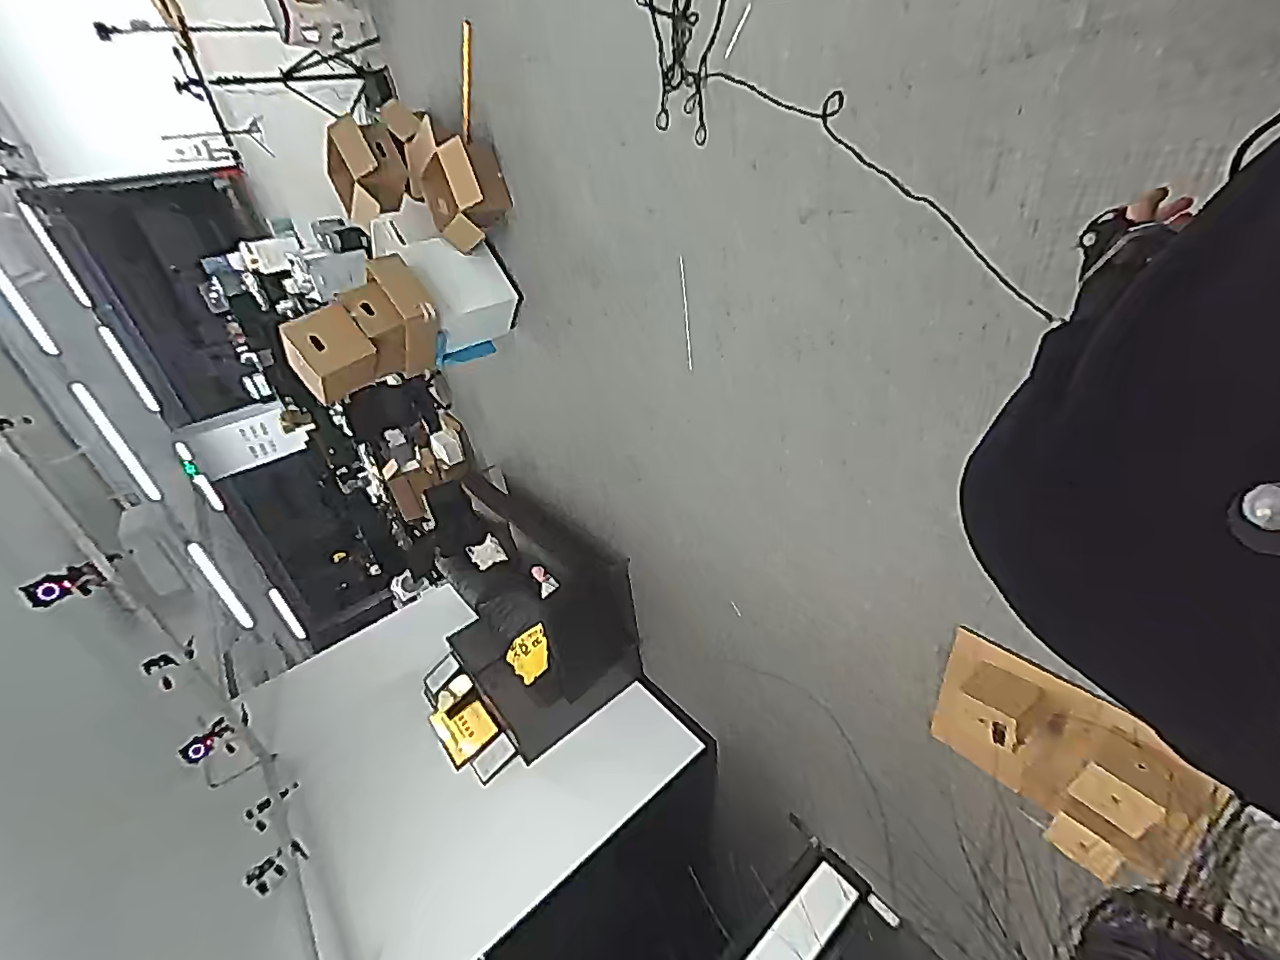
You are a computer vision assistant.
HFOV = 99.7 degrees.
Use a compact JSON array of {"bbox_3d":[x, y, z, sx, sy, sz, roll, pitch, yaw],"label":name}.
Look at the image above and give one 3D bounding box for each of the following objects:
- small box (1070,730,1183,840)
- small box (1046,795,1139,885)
[{"bbox_3d":[1.349,0.836,1.497,0.168,0.176,0.179,34,141,41],"label":"small box"},{"bbox_3d":[1.381,1.059,1.637,0.168,0.176,0.179,31,139,44],"label":"small box"}]
